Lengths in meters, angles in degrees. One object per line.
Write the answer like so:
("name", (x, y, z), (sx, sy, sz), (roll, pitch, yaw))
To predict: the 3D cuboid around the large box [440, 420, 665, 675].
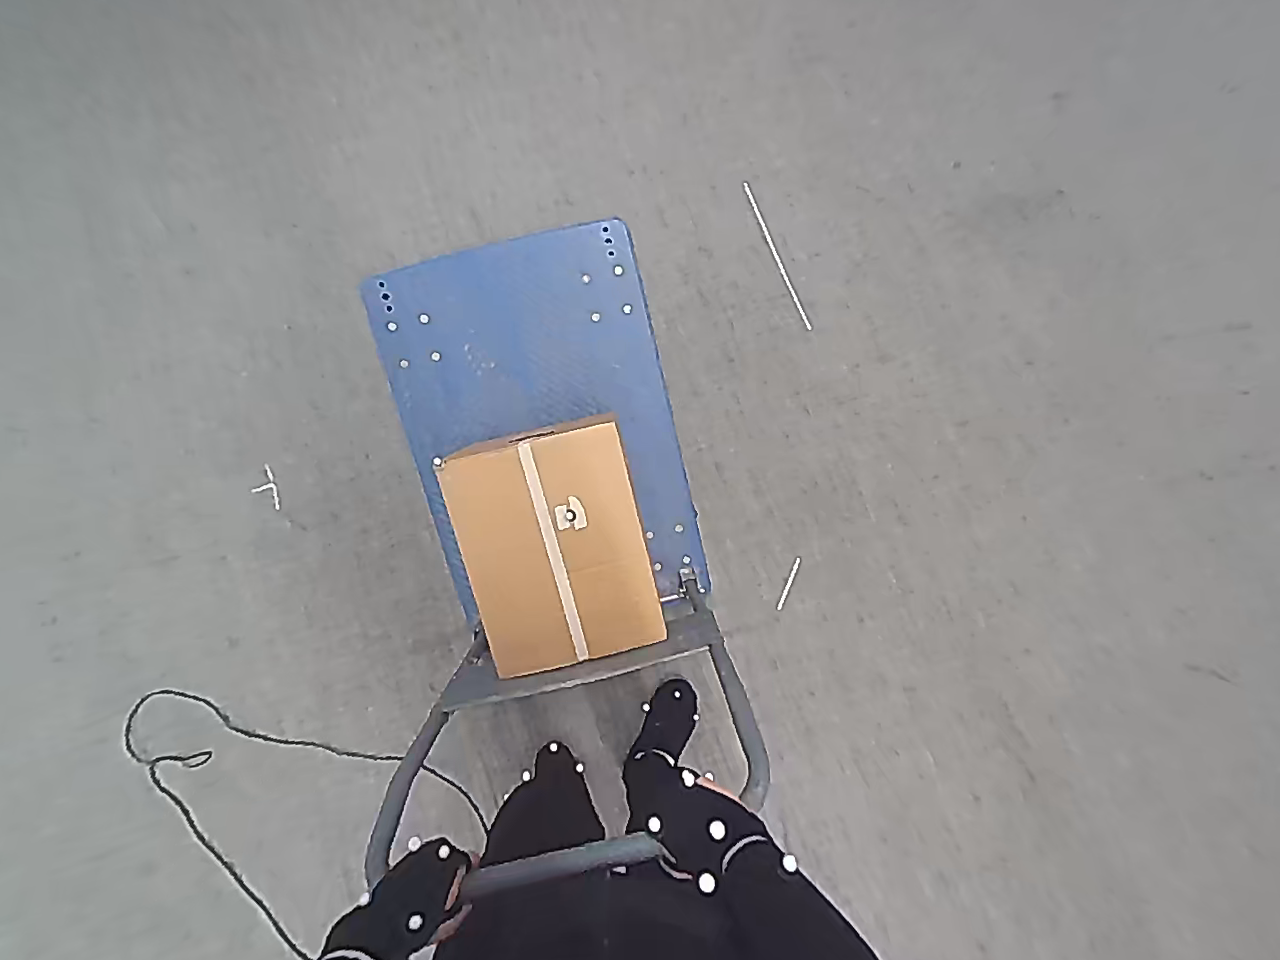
("large box", (-0.151, 0.112, 1.103), (0.320, 0.320, 0.408), (-14, 100, 0))
